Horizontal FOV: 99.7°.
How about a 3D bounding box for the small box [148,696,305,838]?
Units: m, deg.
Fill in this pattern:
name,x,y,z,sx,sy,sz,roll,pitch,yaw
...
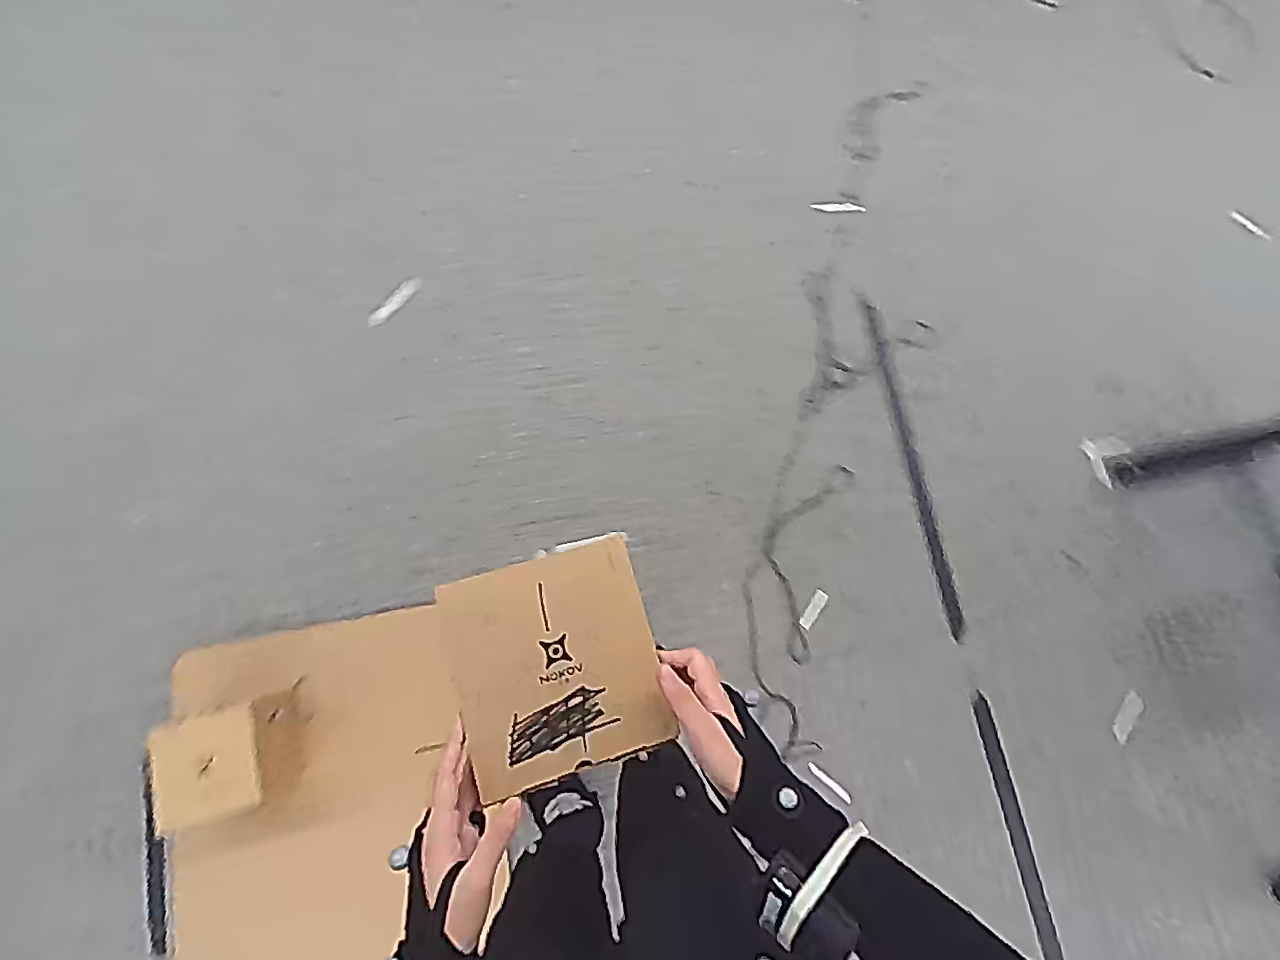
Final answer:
name,x,y,z,sx,sy,sz,roll,pitch,yaw
small box,-0.767,0.522,1.018,0.168,0.176,0.179,-15,81,-11
